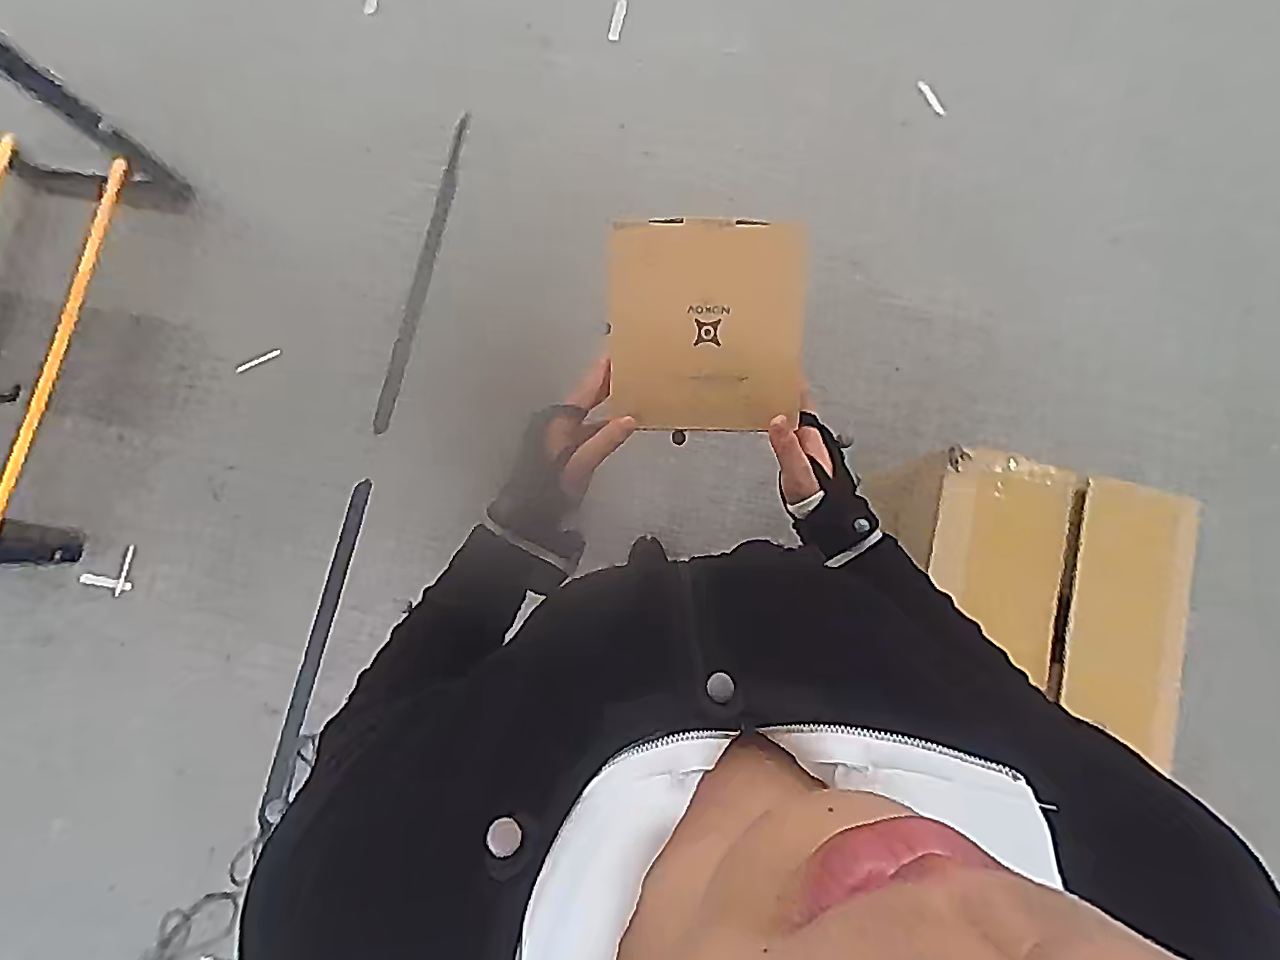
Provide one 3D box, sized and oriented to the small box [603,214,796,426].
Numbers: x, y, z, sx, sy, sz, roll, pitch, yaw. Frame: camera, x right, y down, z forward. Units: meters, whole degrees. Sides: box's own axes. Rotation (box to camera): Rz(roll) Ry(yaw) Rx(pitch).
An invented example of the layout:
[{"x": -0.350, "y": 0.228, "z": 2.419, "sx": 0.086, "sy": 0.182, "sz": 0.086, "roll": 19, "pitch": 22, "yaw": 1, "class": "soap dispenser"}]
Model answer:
[{"x": 0.049, "y": -0.144, "z": 0.540, "sx": 0.168, "sy": 0.176, "sz": 0.179, "roll": 0, "pitch": 96, "yaw": 0, "class": "small box"}]
